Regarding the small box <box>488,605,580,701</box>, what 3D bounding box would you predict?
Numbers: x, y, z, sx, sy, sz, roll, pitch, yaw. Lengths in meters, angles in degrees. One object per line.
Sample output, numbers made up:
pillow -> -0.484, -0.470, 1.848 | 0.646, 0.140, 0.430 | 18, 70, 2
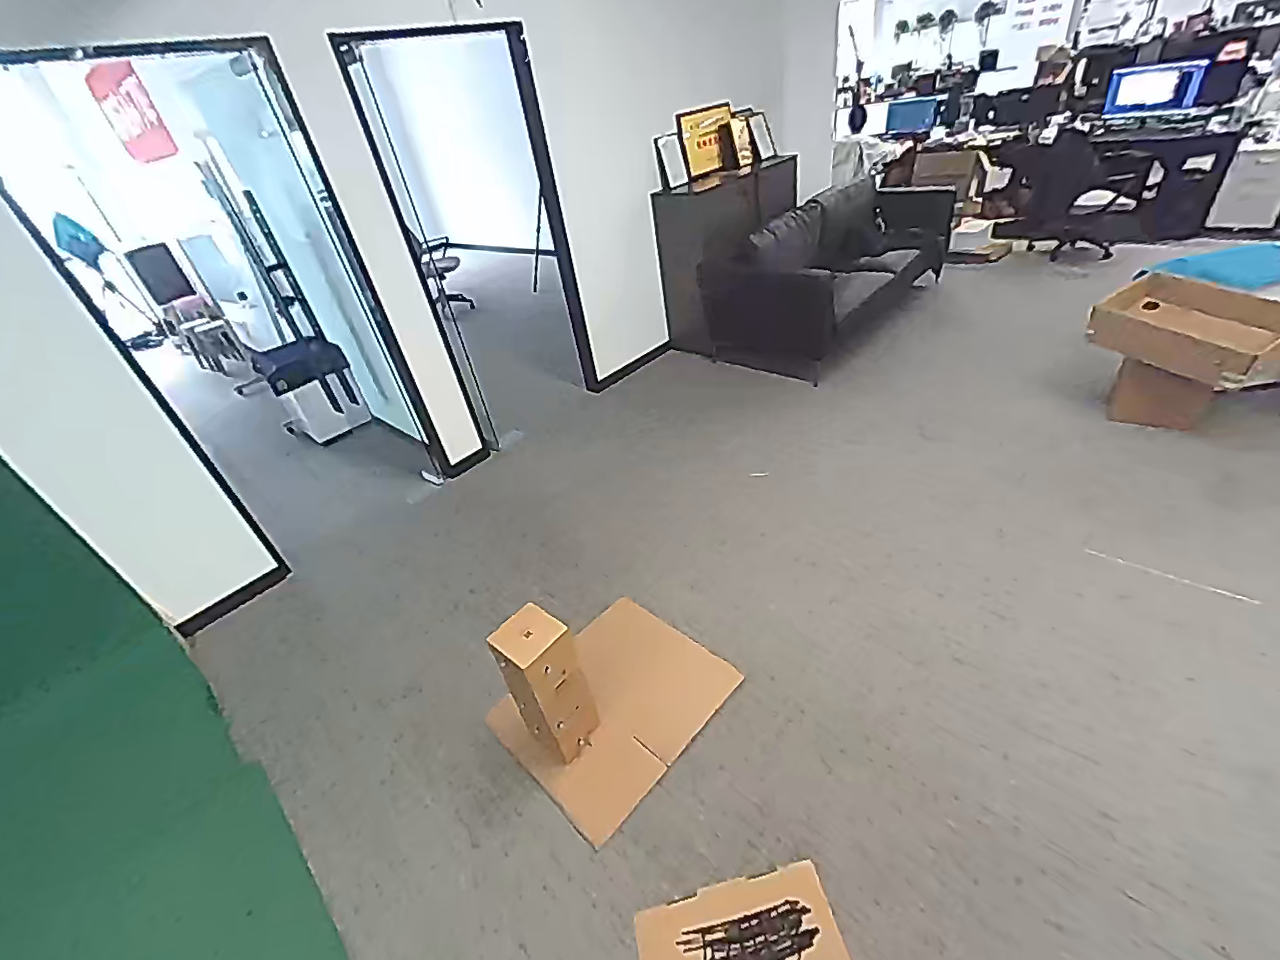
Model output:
small box -> -0.295, 0.498, 1.542 | 0.179, 0.176, 0.168 | 20, 46, 37

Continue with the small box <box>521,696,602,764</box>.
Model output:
small box -> -0.247, 0.763, 1.724 | 0.179, 0.176, 0.168 | 18, 44, 34

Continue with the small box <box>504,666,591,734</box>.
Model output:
small box -> -0.272, 0.631, 1.631 | 0.179, 0.176, 0.168 | 20, 45, 37
